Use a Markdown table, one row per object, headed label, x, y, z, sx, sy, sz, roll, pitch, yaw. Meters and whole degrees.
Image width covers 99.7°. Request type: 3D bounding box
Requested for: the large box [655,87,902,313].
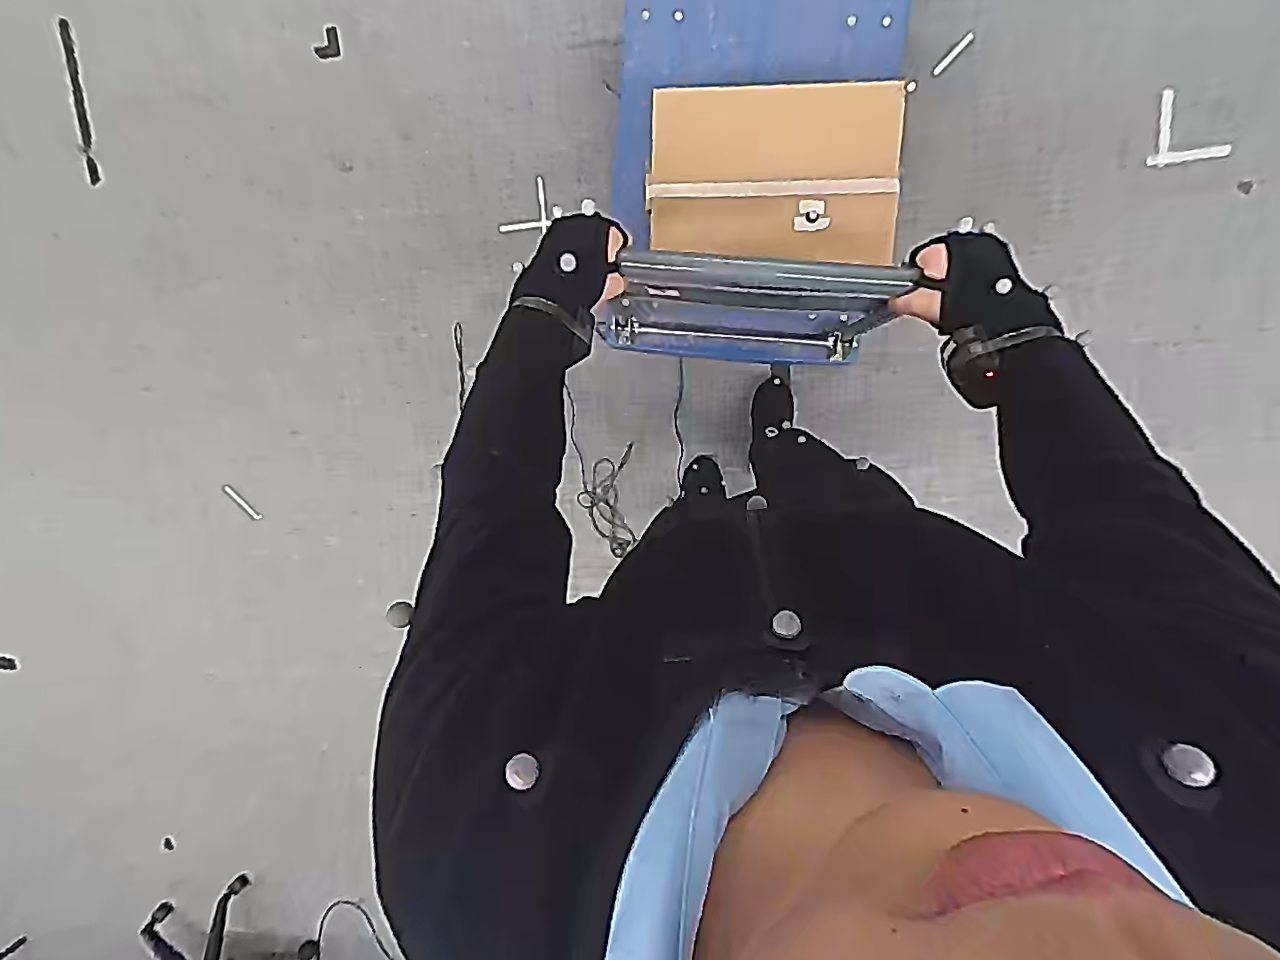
| label | x | y | z | sx | sy | sz | roll | pitch | yaw |
| --- | --- | --- | --- | --- | --- | --- | --- | --- | --- |
| large box | 0.234 | -0.509 | 1.054 | 0.408 | 0.320 | 0.320 | 1 | 101 | 4 |
